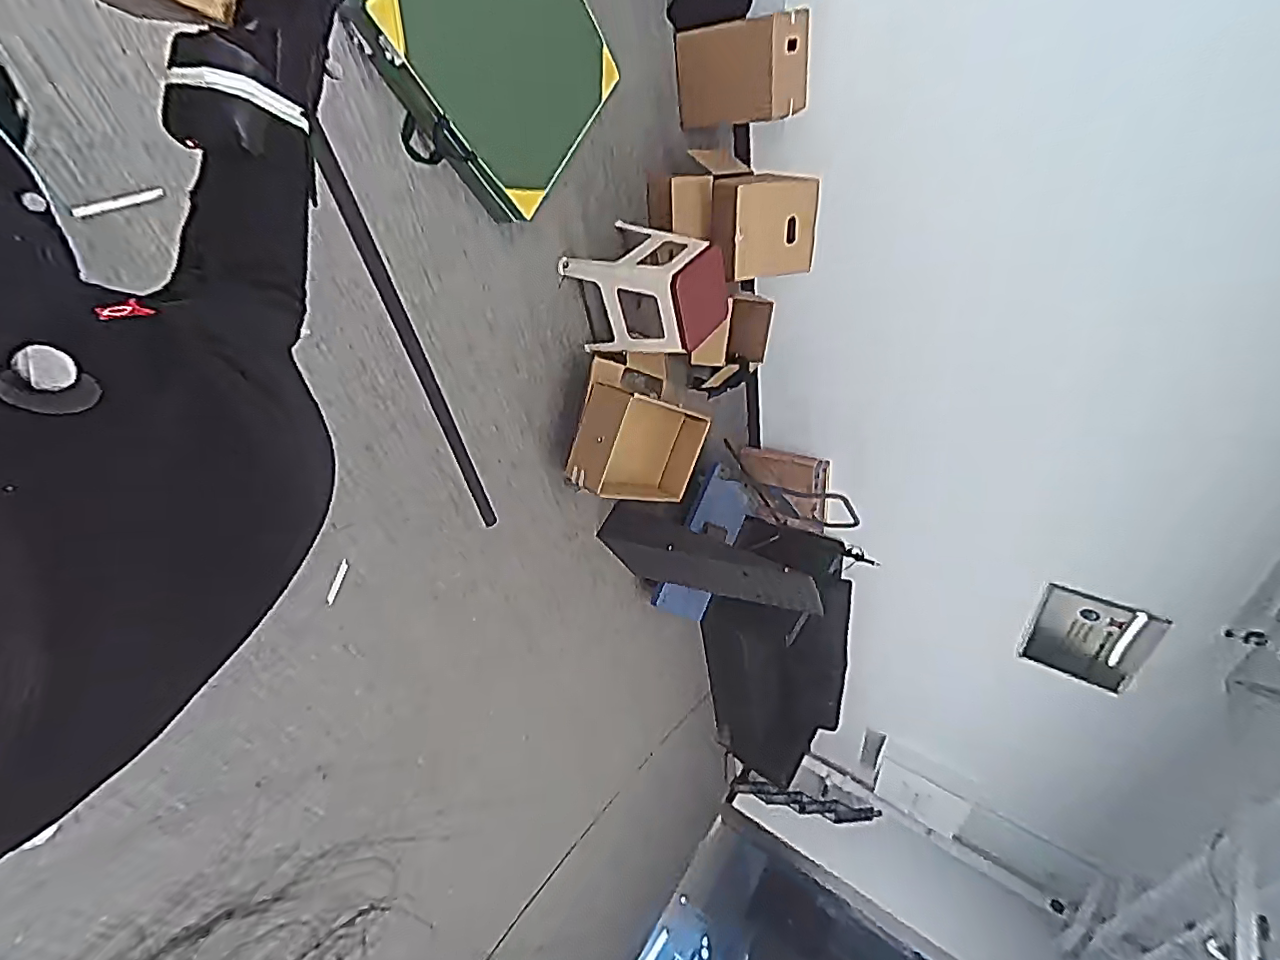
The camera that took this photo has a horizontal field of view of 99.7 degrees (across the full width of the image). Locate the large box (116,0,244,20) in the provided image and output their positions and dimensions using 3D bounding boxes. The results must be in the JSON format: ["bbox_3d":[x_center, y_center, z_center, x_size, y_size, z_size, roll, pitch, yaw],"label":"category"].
[{"bbox_3d":[-0.464,-0.532,0.269,0.408,0.320,0.320,-2,121,-54],"label":"large box"}]
